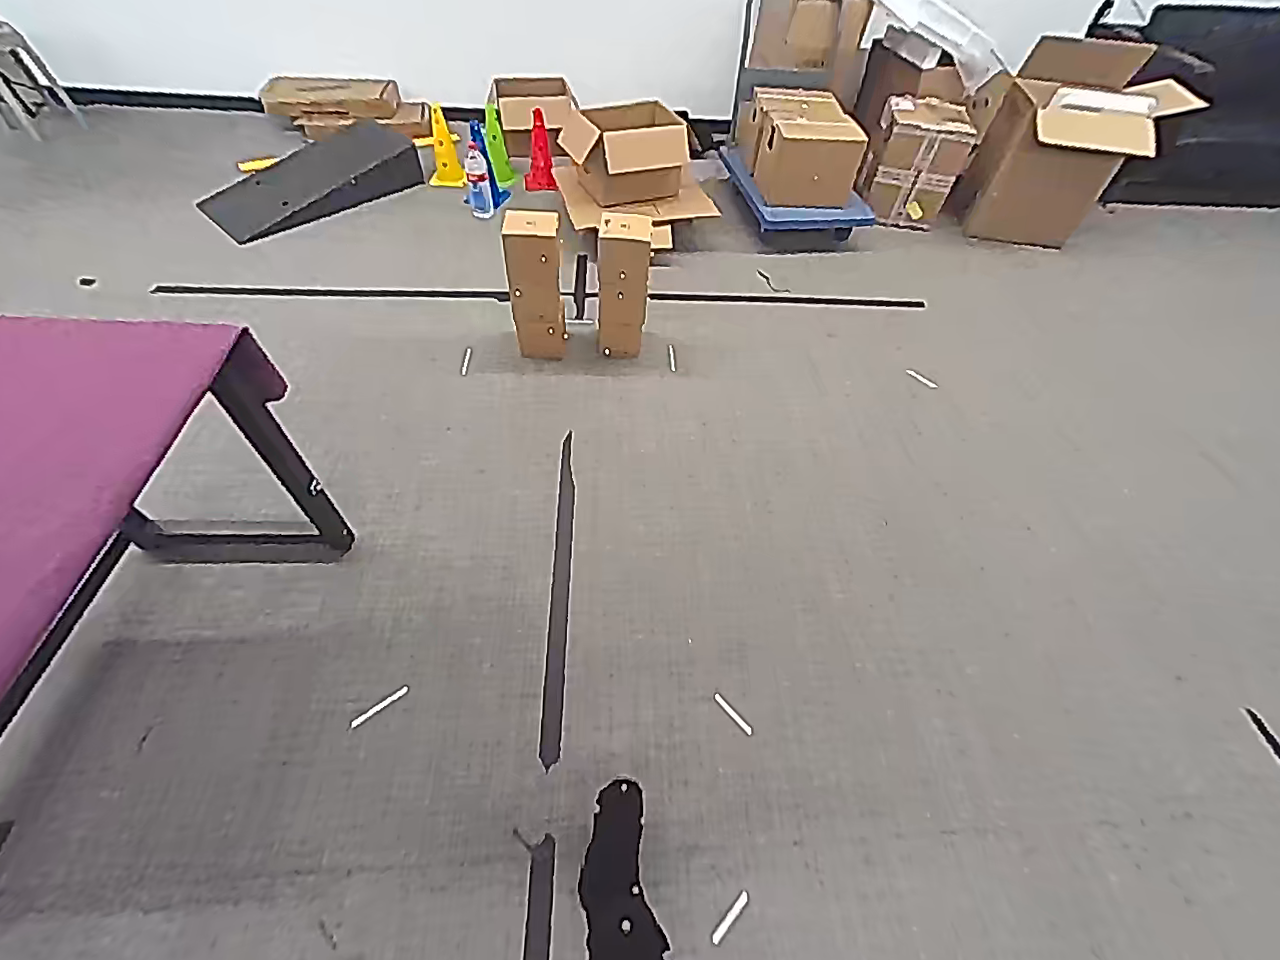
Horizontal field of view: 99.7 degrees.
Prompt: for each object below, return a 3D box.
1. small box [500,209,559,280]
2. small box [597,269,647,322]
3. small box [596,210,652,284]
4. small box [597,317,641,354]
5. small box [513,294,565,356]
[{"bbox_3d":[-0.369,-0.795,1.834,0.179,0.176,0.168,-1,51,-5],"label":"small box"},{"bbox_3d":[-0.068,-0.701,1.991,0.179,0.176,0.168,2,53,-4],"label":"small box"},{"bbox_3d":[-0.057,-0.798,1.859,0.179,0.176,0.168,5,53,-3],"label":"small box"},{"bbox_3d":[-0.085,-0.615,2.131,0.168,0.176,0.179,0,52,-5],"label":"small box"},{"bbox_3d":[-0.387,-0.598,2.094,0.179,0.176,0.168,1,52,-4],"label":"small box"}]
